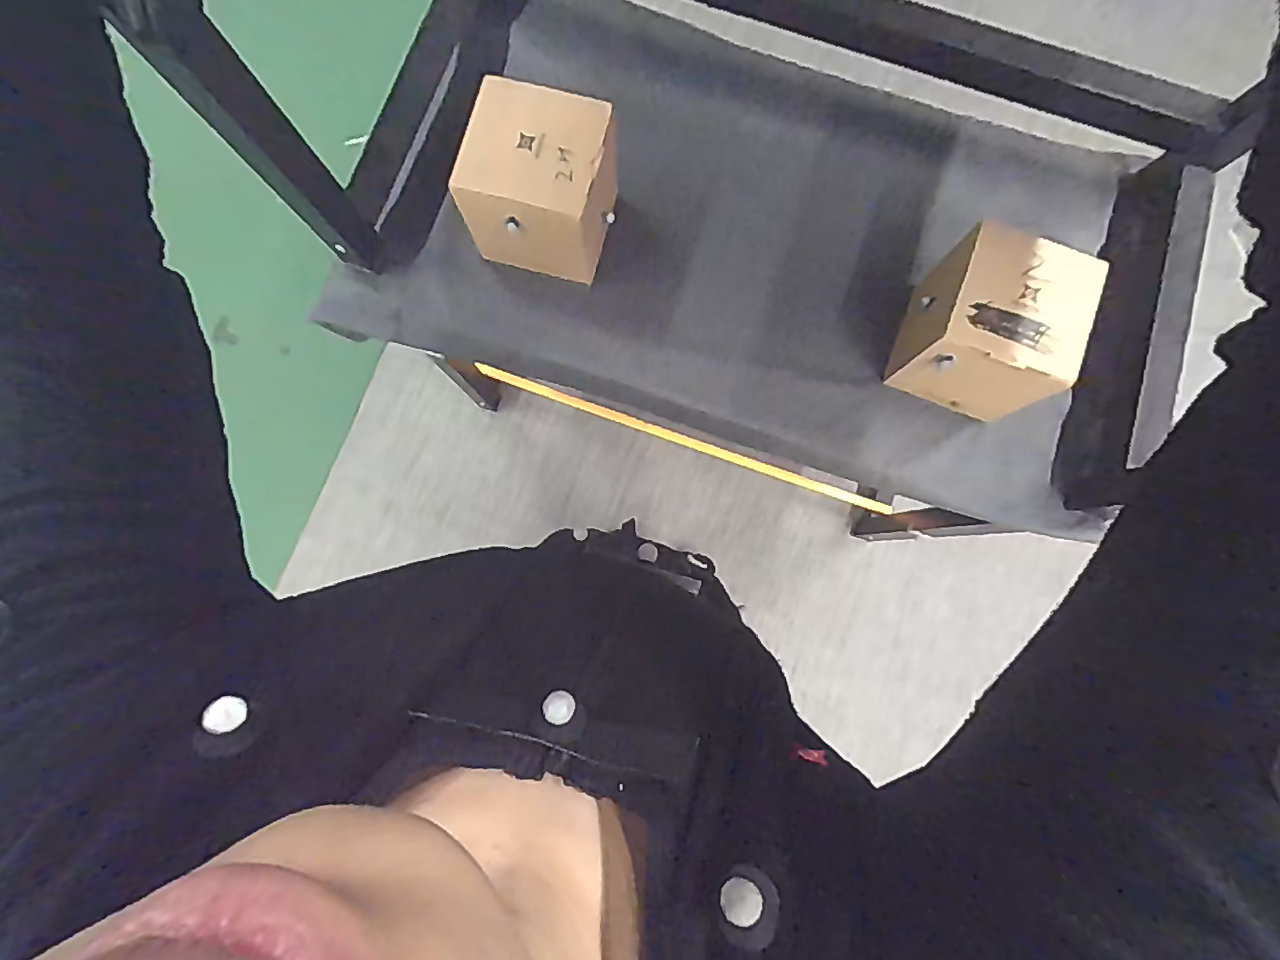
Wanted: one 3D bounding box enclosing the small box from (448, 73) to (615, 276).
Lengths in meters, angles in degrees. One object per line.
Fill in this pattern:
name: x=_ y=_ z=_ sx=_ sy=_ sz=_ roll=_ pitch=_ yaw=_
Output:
small box: x=-0.139 y=-0.415 z=0.763 sx=0.179 sy=0.176 sz=0.168 roll=15 pitch=82 yaw=0
